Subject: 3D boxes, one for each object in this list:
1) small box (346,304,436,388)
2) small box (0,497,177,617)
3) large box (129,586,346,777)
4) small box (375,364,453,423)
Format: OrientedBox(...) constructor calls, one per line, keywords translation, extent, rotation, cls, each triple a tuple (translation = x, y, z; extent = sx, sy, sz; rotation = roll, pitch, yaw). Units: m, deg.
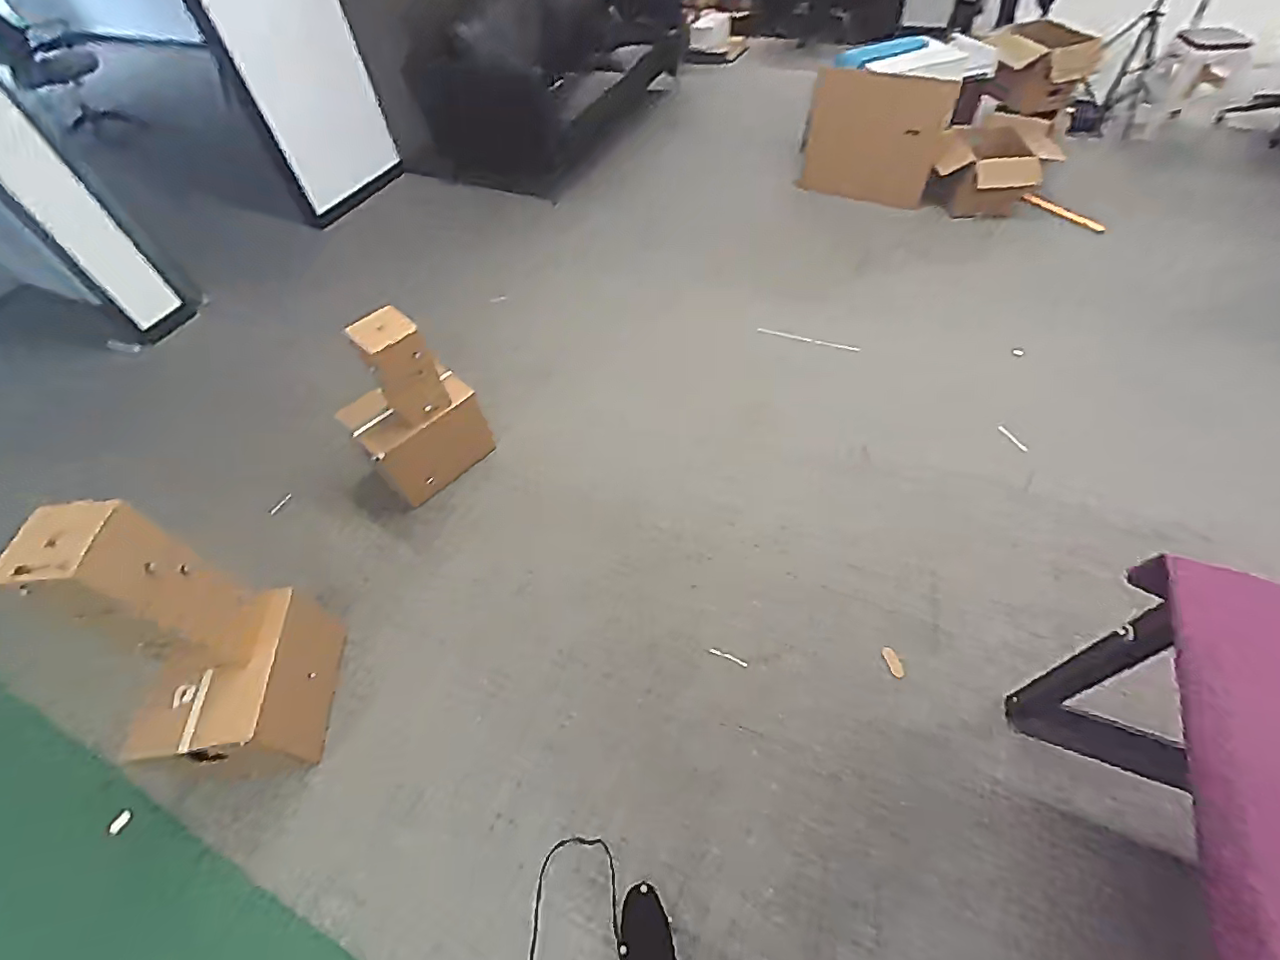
OrientedBox(translation=(-0.778, -0.416, 1.708), extent=(0.179, 0.176, 0.168), rotation=(36, 62, 26), cls="small box")
OrientedBox(translation=(-1.096, 0.157, 1.089), extent=(0.168, 0.176, 0.179), rotation=(-5, 52, 1), cls="small box")
OrientedBox(translation=(-1.069, 0.561, 1.504), extent=(0.320, 0.320, 0.408), rotation=(-10, 54, -1), cls="large box")
OrientedBox(translation=(-0.773, -0.324, 1.843), extent=(0.168, 0.176, 0.179), rotation=(-40, 62, -23), cls="small box")
